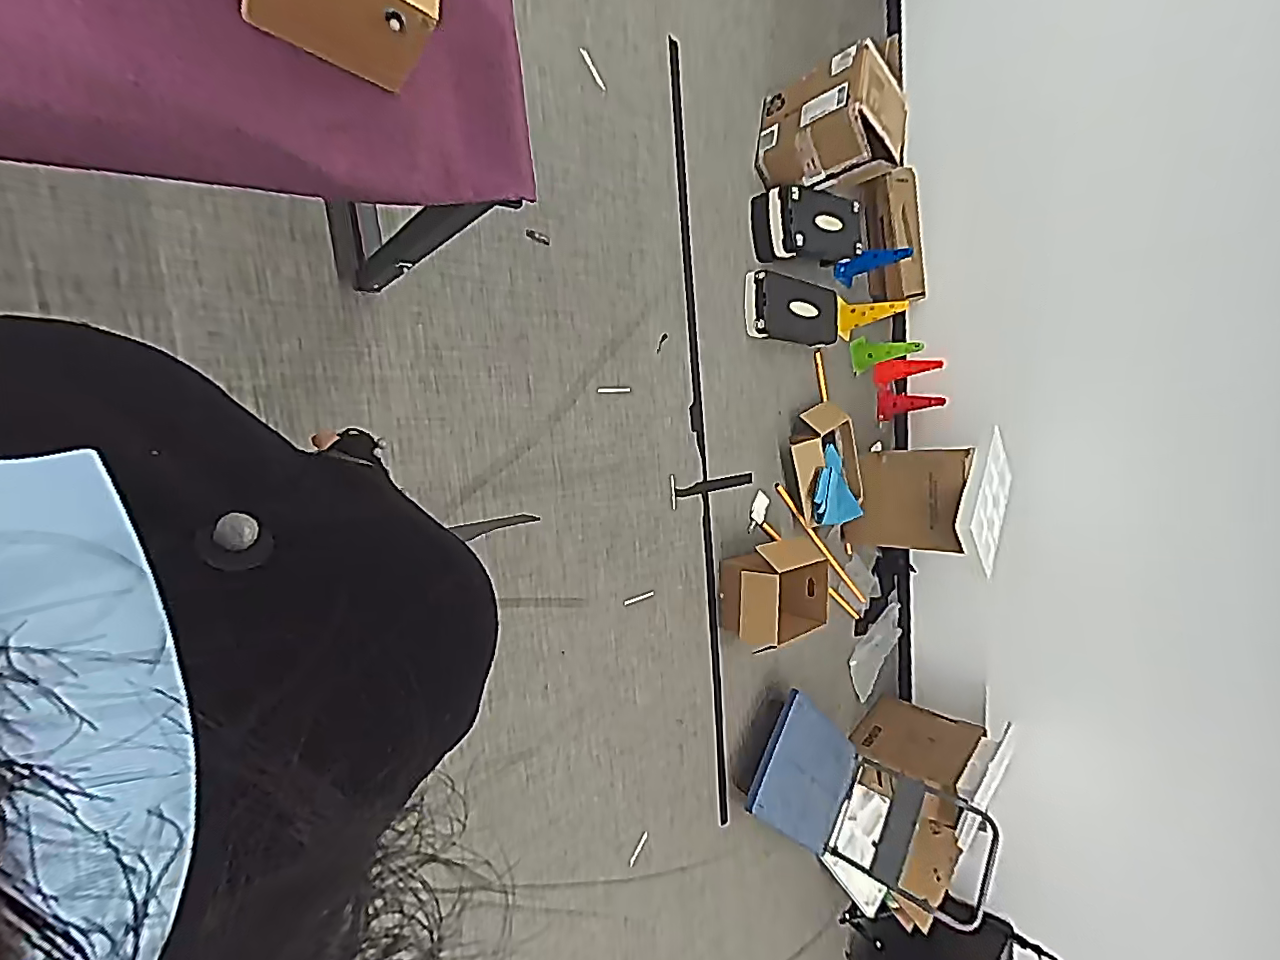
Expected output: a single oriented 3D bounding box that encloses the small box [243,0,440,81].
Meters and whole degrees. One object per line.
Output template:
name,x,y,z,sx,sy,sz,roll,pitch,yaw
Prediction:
small box,-0.345,-0.615,0.624,0.179,0.176,0.168,2,91,-42
